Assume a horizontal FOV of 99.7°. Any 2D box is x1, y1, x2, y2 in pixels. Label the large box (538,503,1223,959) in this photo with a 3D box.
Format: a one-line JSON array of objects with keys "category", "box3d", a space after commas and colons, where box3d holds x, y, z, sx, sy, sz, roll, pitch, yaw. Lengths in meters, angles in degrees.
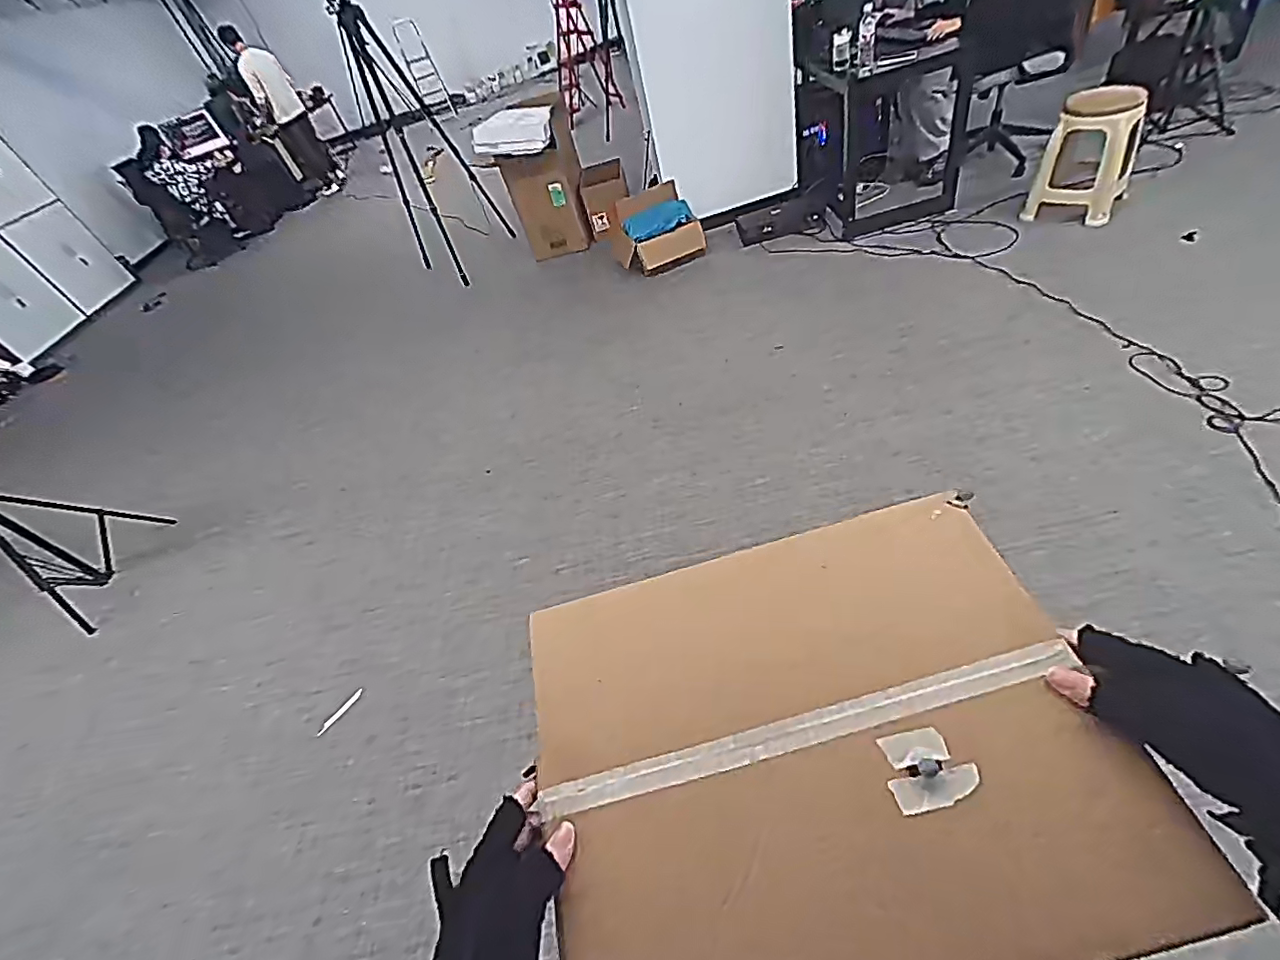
[{"category": "large box", "box3d": [0.153, 0.282, 0.529, 0.408, 0.320, 0.320, -17, 52, 1]}]
